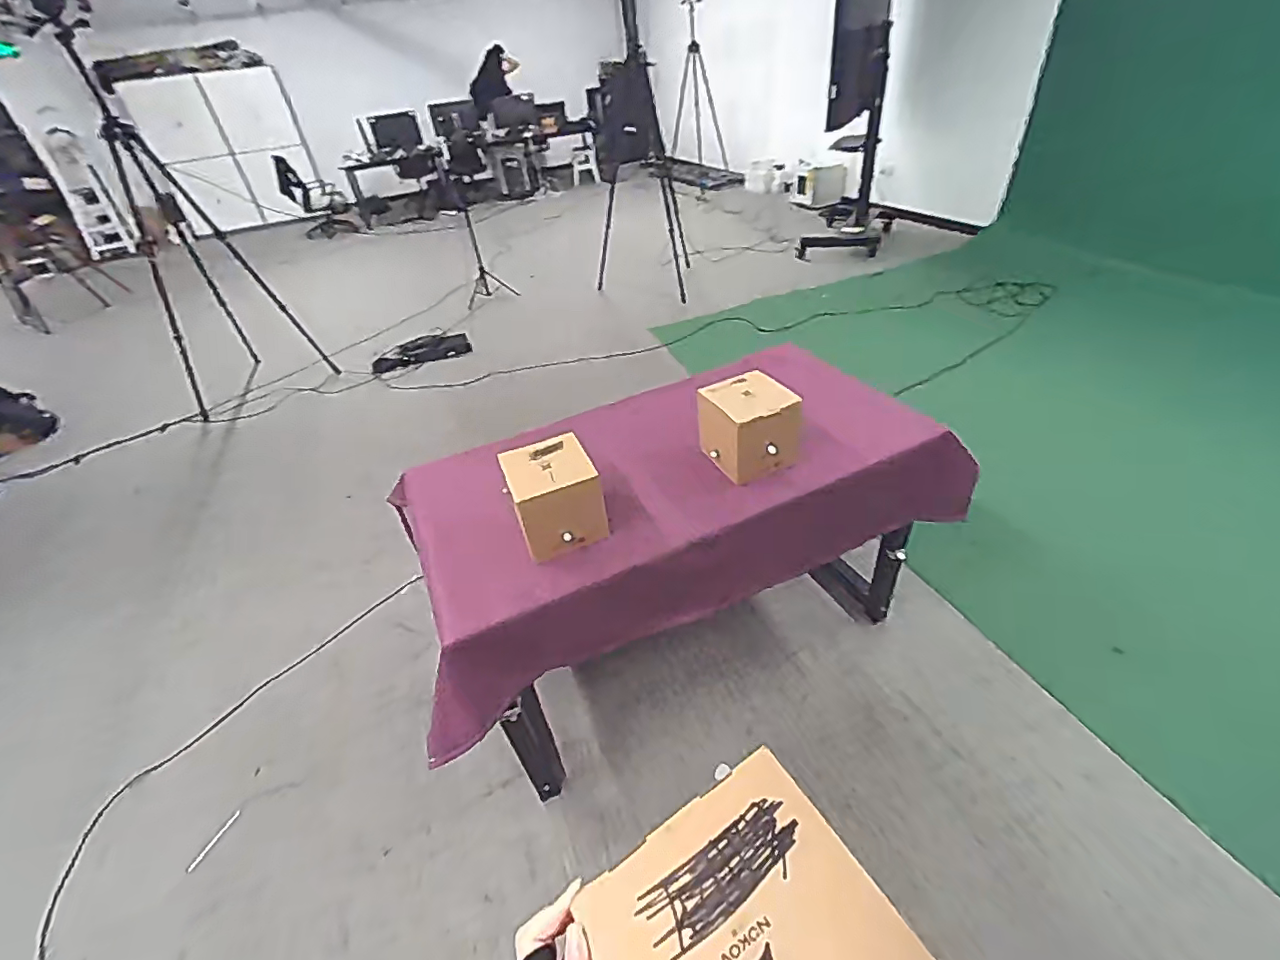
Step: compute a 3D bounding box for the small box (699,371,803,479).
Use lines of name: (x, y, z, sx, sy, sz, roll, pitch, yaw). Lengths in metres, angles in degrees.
small box: (0.249, -0.120, 1.237, 0.168, 0.176, 0.179, -20, 40, -15)

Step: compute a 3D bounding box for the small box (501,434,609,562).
small box: (-0.173, 0.035, 1.113, 0.168, 0.176, 0.179, -19, 40, -14)
